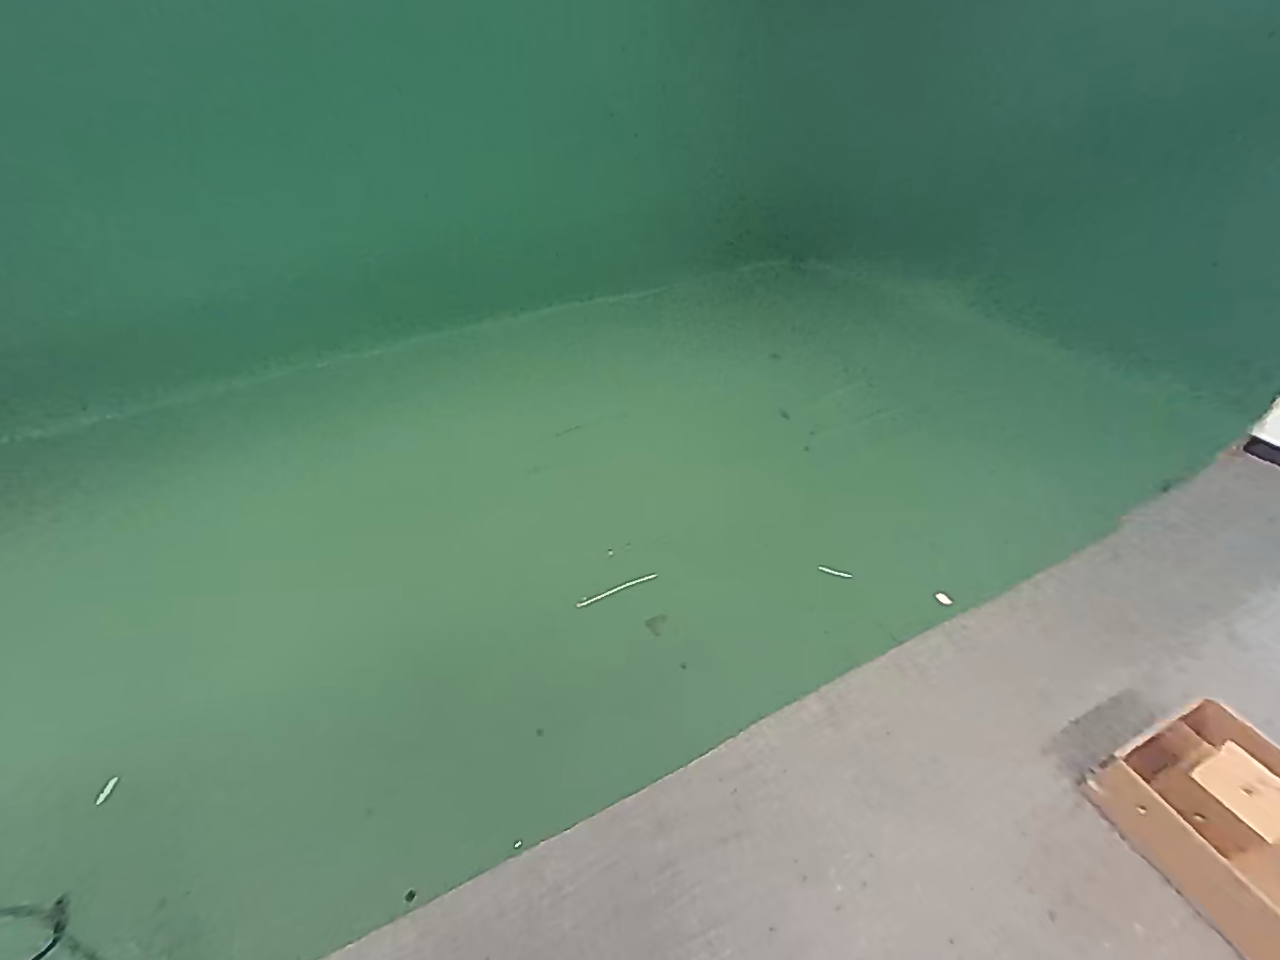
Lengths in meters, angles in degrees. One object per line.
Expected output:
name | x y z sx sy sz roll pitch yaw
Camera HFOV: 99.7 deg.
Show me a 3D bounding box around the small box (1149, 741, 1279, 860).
small box | 1.408 0.782 1.316 0.179 0.176 0.168 -19 45 -17
